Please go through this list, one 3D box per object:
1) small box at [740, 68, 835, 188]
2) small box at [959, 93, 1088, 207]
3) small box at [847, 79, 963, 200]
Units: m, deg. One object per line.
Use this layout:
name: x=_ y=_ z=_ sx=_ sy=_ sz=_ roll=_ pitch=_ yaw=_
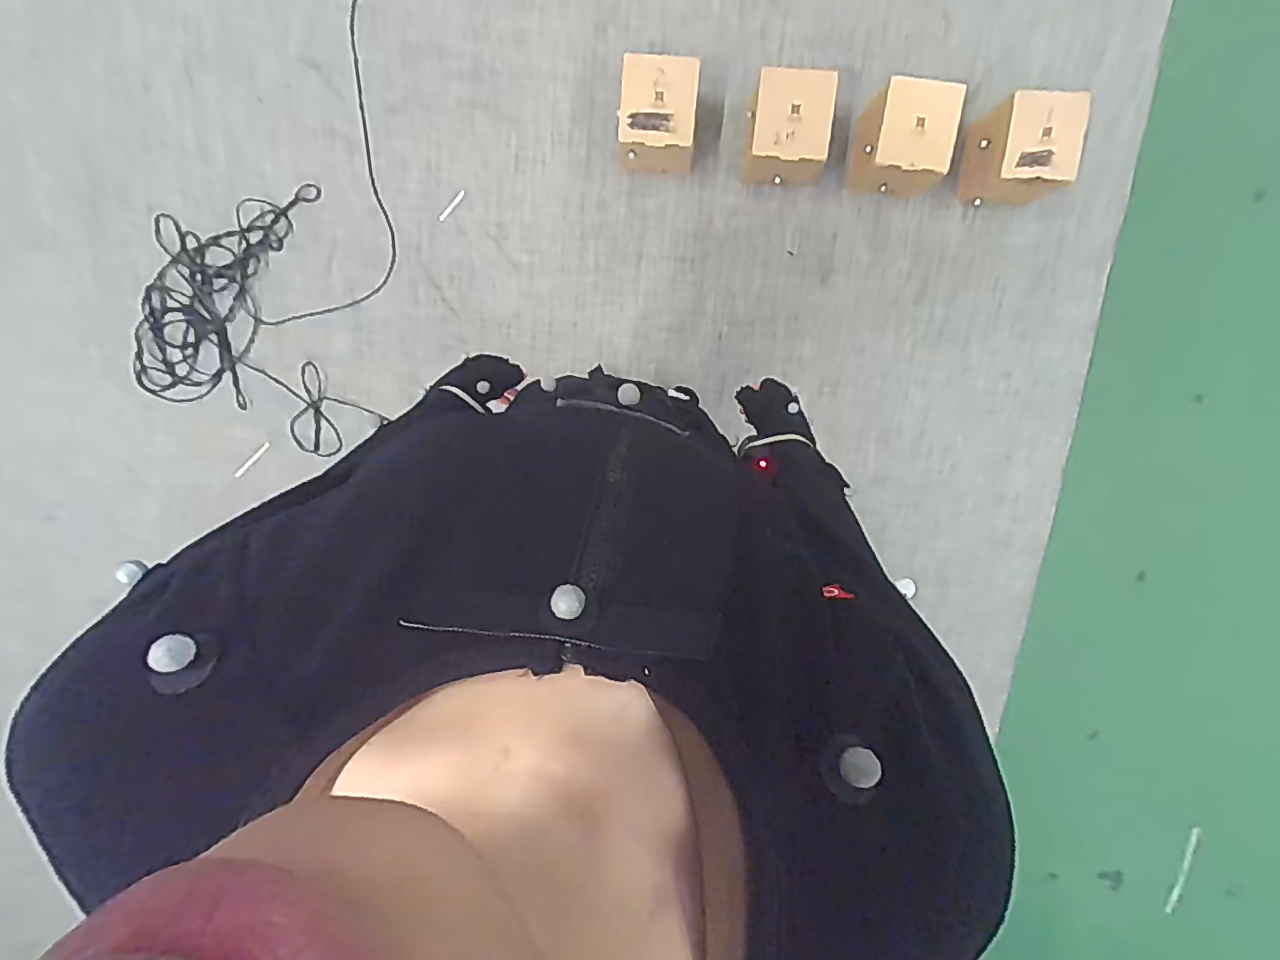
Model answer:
small box: x=0.328 y=-0.796 z=1.237 sx=0.168 sy=0.176 sz=0.179 roll=5 pitch=102 yaw=1
small box: x=0.863 y=-0.743 z=1.237 sx=0.168 sy=0.176 sz=0.179 roll=4 pitch=101 yaw=0
small box: x=0.595 y=-0.771 z=1.238 sx=0.168 sy=0.176 sz=0.179 roll=7 pitch=102 yaw=-1
